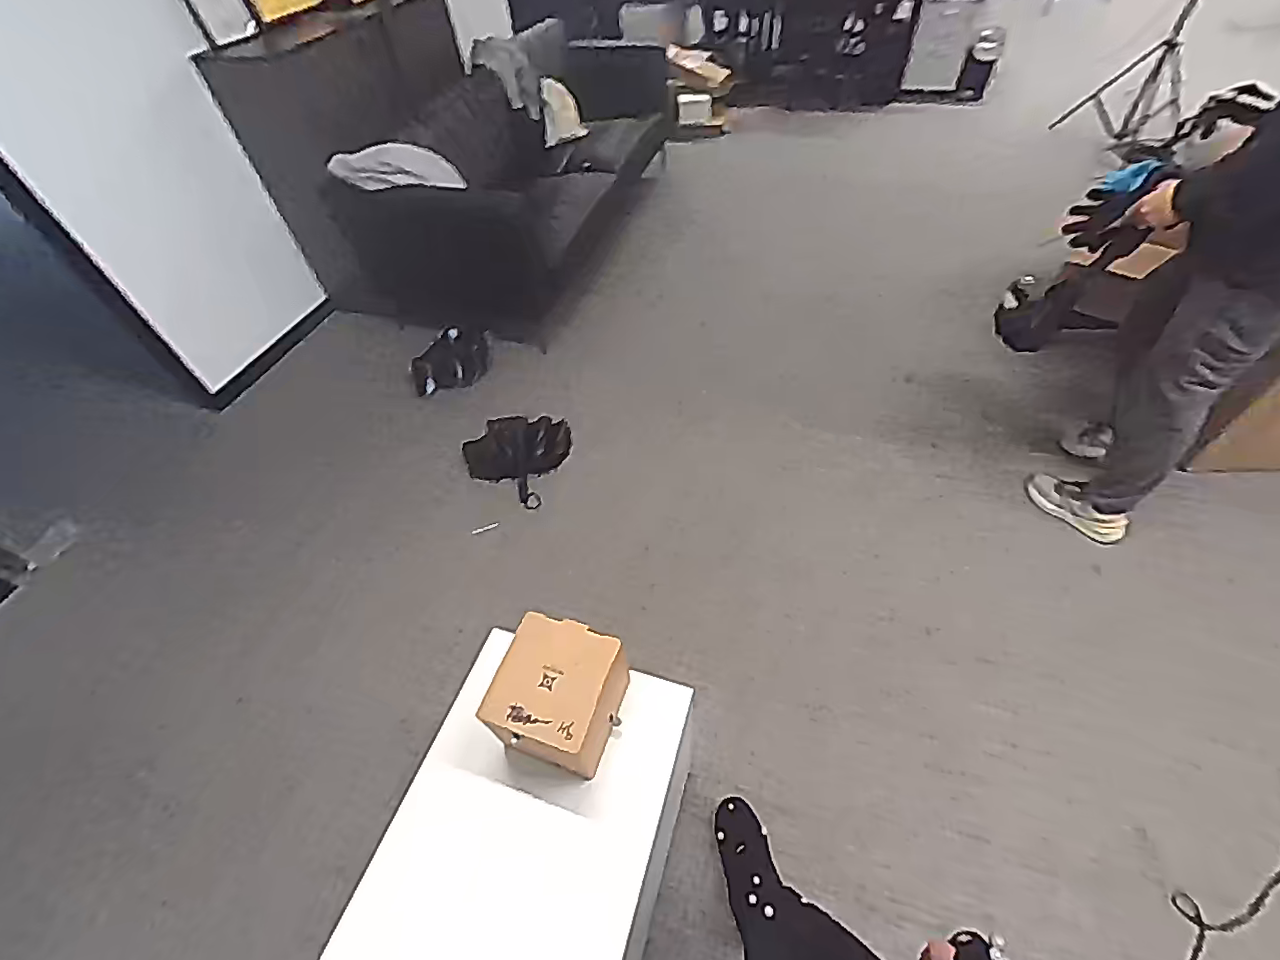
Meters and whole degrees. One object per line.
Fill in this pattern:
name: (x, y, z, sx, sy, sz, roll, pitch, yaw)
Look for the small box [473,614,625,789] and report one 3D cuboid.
small box: (-0.127, 0.342, 0.833, 0.168, 0.176, 0.179, 14, 51, 13)
